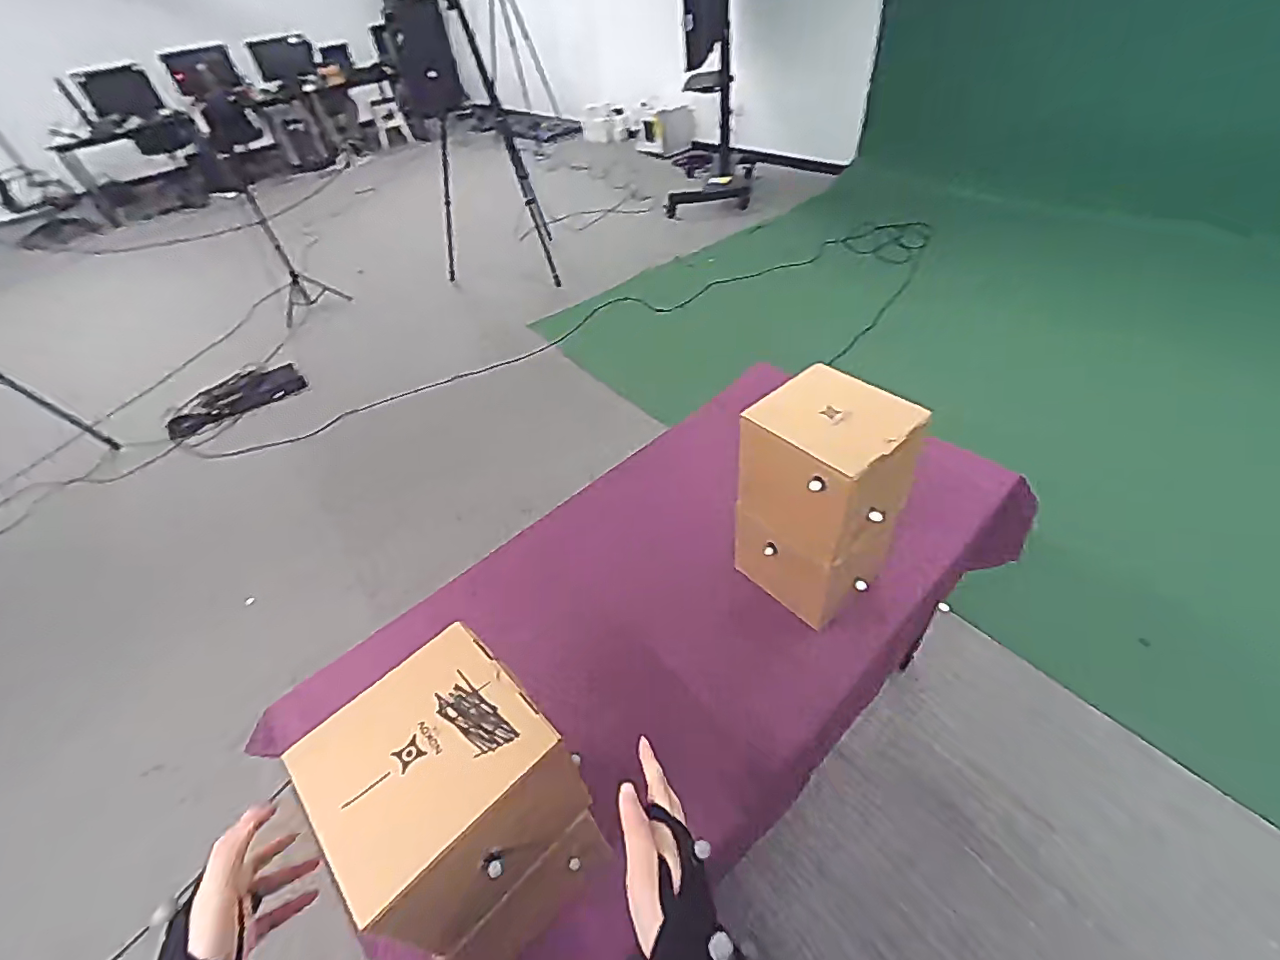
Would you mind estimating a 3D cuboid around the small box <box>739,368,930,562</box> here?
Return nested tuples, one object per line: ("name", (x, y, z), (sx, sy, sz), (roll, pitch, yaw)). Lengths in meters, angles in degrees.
("small box", (0.251, -0.022, 0.743), (0.168, 0.176, 0.179), (-34, 50, -24))

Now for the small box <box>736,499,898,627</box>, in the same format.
("small box", (0.267, 0.095, 0.855), (0.168, 0.176, 0.179), (-34, 50, -23))
